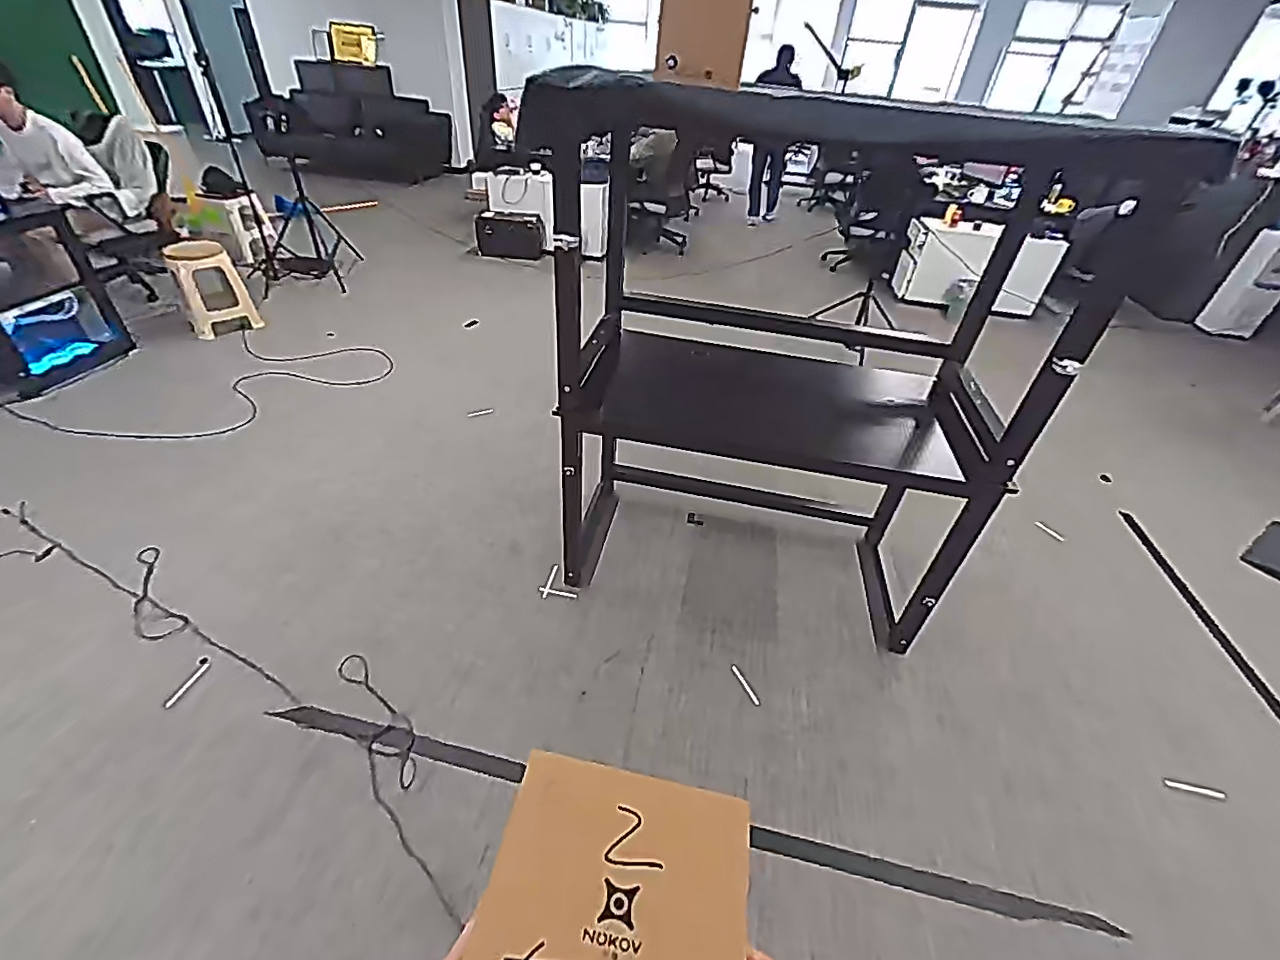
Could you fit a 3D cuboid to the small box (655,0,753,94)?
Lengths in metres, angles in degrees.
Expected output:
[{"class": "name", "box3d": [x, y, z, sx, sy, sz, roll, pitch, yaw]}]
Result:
[{"class": "small box", "box3d": [0.124, -0.852, 1.039, 0.168, 0.176, 0.179, 10, 36, 3]}]
